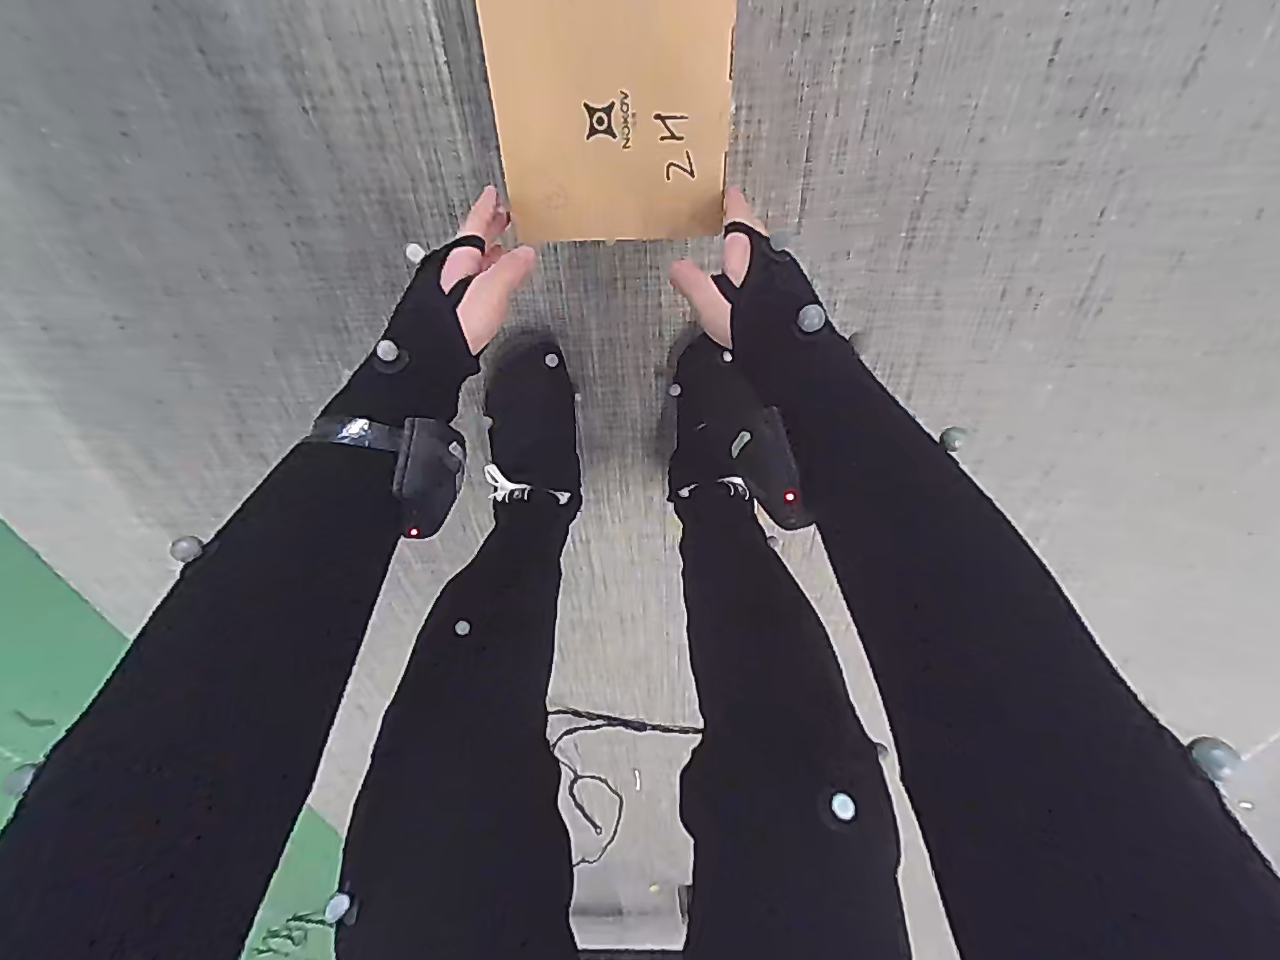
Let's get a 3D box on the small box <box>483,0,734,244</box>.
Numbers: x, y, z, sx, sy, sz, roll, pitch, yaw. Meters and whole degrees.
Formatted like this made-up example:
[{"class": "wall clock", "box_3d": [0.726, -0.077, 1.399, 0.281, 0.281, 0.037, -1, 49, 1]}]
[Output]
[{"class": "small box", "box_3d": [-0.020, -0.317, 0.479, 0.179, 0.176, 0.168, -1, 129, 1]}]
